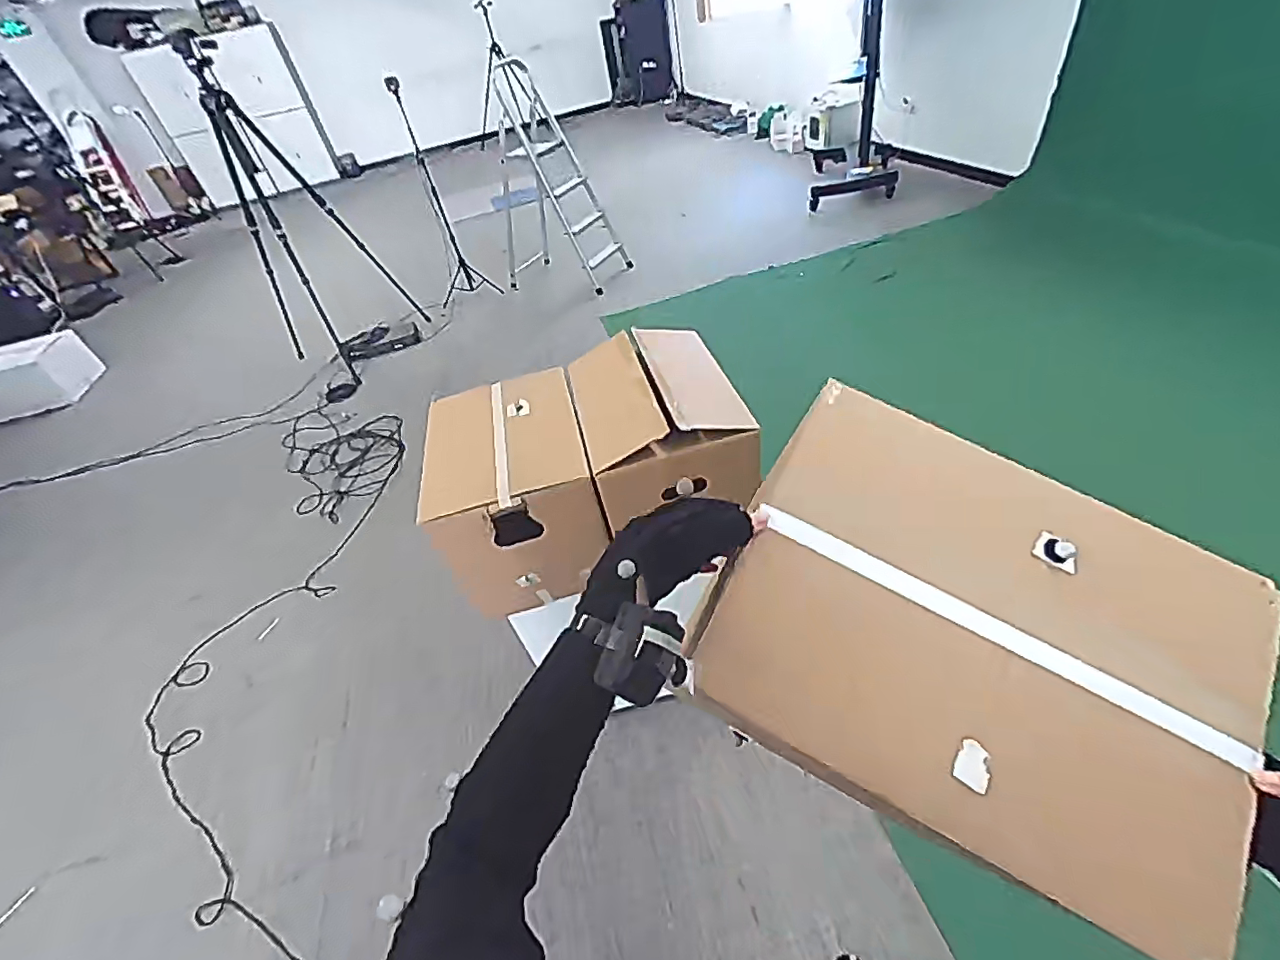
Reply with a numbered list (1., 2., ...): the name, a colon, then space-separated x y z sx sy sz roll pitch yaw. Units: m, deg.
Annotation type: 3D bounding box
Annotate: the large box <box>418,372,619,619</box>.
1. large box: -0.258 0.024 1.188 0.320 0.320 0.408 -16 41 -4
